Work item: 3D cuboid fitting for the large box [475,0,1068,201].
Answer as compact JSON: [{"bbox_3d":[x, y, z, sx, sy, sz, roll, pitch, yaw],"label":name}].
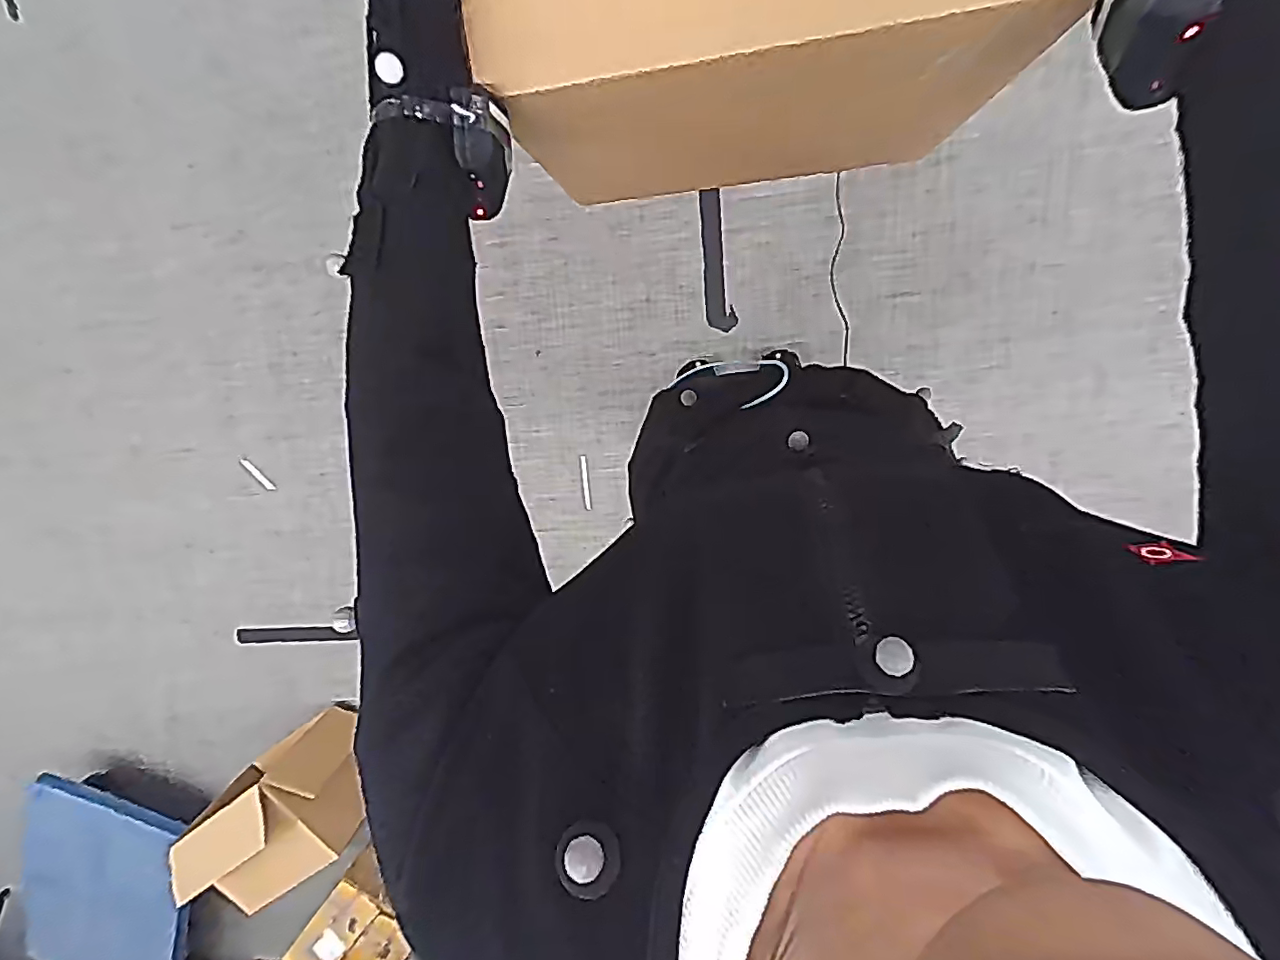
[{"bbox_3d":[0.088,-0.470,0.462,0.408,0.320,0.320,-4,104,8],"label":"large box"}]
